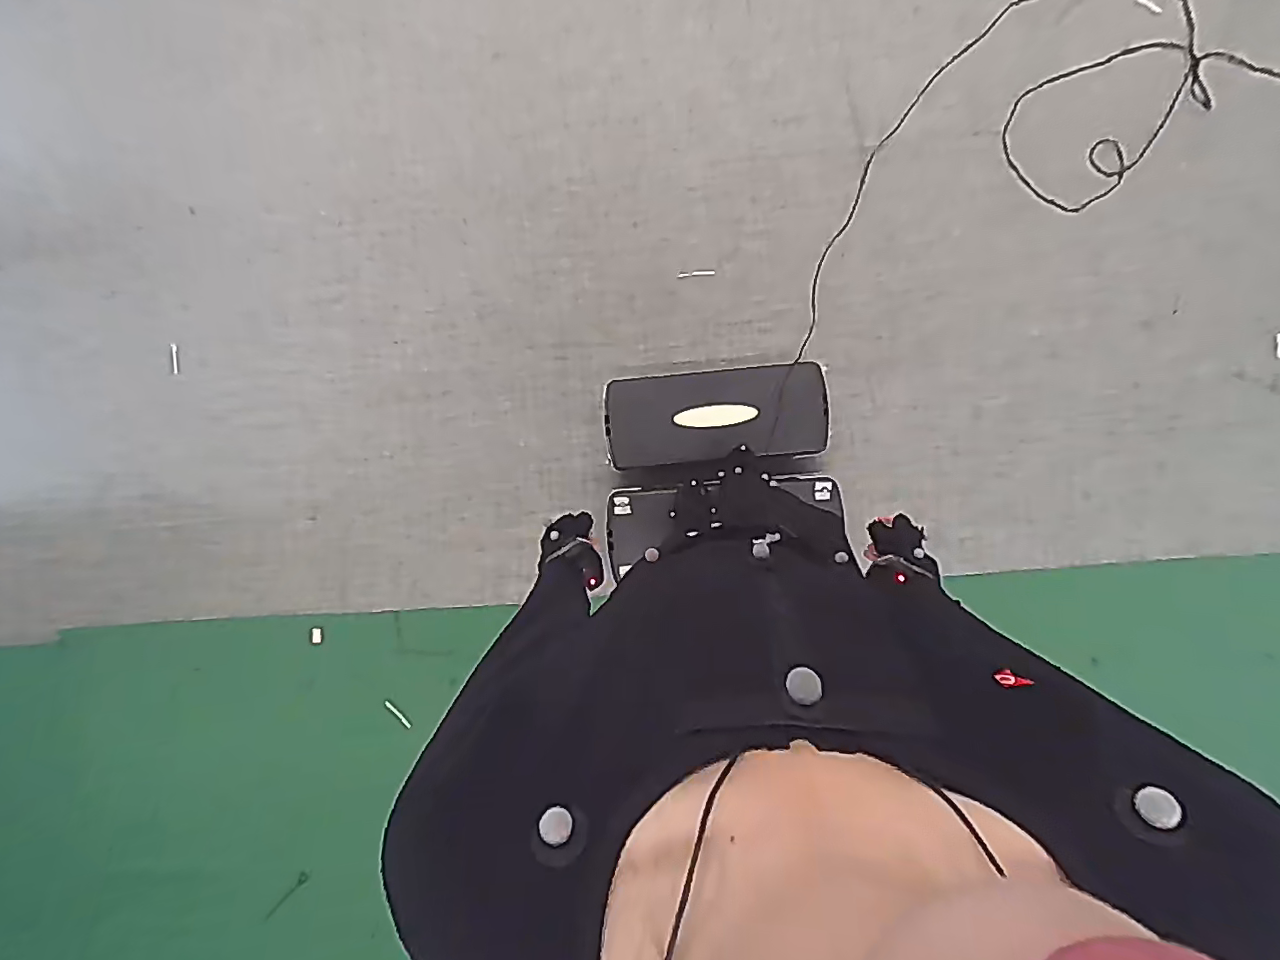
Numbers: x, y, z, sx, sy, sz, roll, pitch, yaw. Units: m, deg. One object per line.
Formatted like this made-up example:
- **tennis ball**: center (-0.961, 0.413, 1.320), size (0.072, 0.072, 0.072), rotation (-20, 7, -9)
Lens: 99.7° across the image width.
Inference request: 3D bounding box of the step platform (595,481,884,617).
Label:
- **step platform**: center (0.237, 0.169, 1.379), size (0.684, 0.204, 0.286), rotation (-5, 89, 2)
